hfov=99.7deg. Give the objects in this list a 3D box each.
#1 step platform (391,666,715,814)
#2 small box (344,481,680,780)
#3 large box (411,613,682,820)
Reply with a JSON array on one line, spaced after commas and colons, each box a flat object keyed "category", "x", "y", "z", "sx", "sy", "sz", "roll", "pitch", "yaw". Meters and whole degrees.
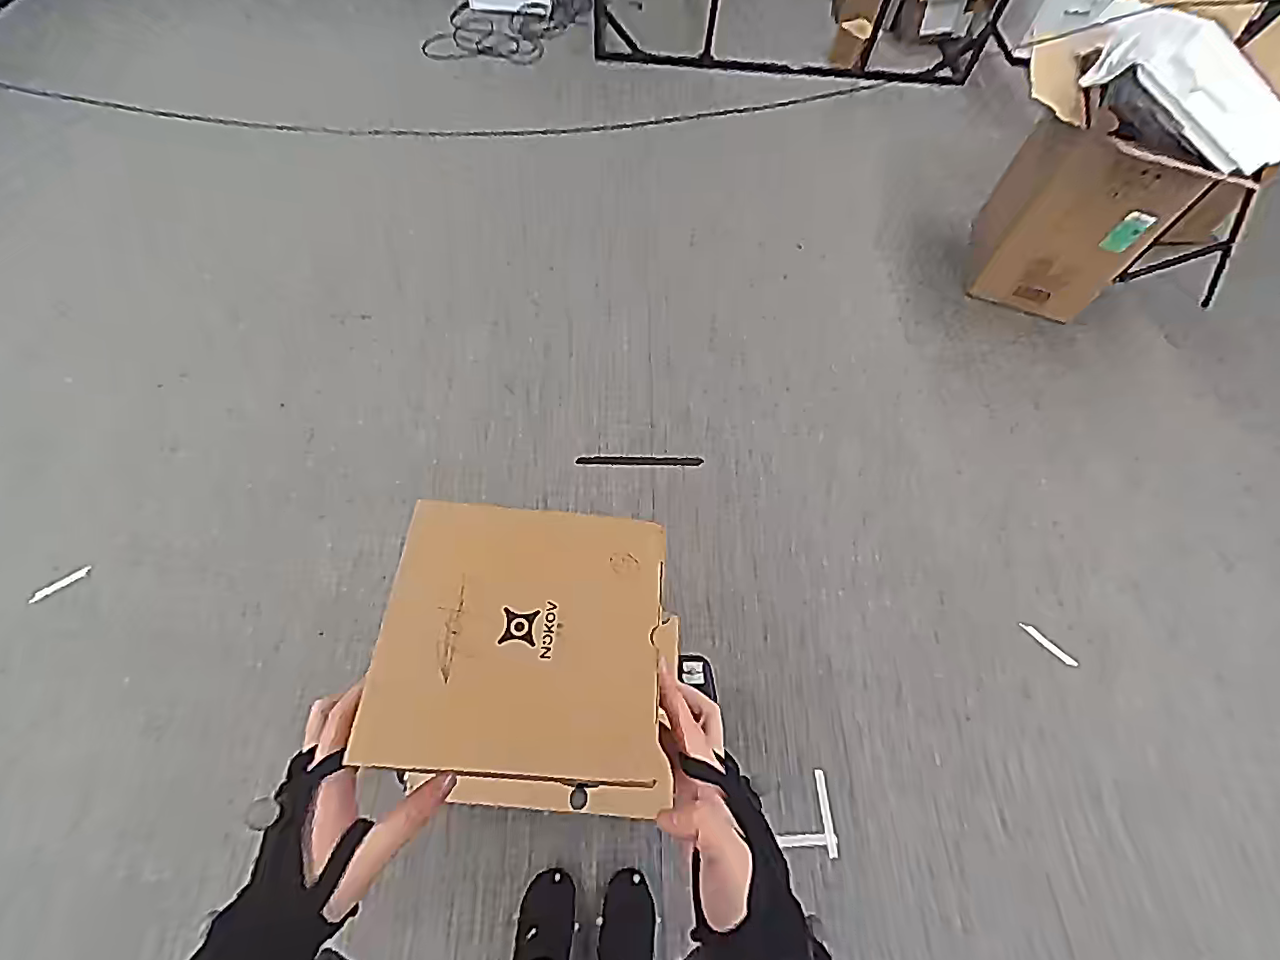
[{"category": "step platform", "x": -0.177, "y": 0.541, "z": 1.207, "sx": 0.684, "sy": 0.204, "sz": 0.286, "roll": 7, "pitch": 61, "yaw": 1}, {"category": "small box", "x": -0.072, "y": 0.119, "z": 0.396, "sx": 0.179, "sy": 0.176, "sz": 0.168, "roll": 6, "pitch": 60, "yaw": -2}, {"category": "large box", "x": -0.137, "y": 0.424, "z": 1.001, "sx": 0.408, "sy": 0.320, "sz": 0.320, "roll": 5, "pitch": 60, "yaw": 0}]
